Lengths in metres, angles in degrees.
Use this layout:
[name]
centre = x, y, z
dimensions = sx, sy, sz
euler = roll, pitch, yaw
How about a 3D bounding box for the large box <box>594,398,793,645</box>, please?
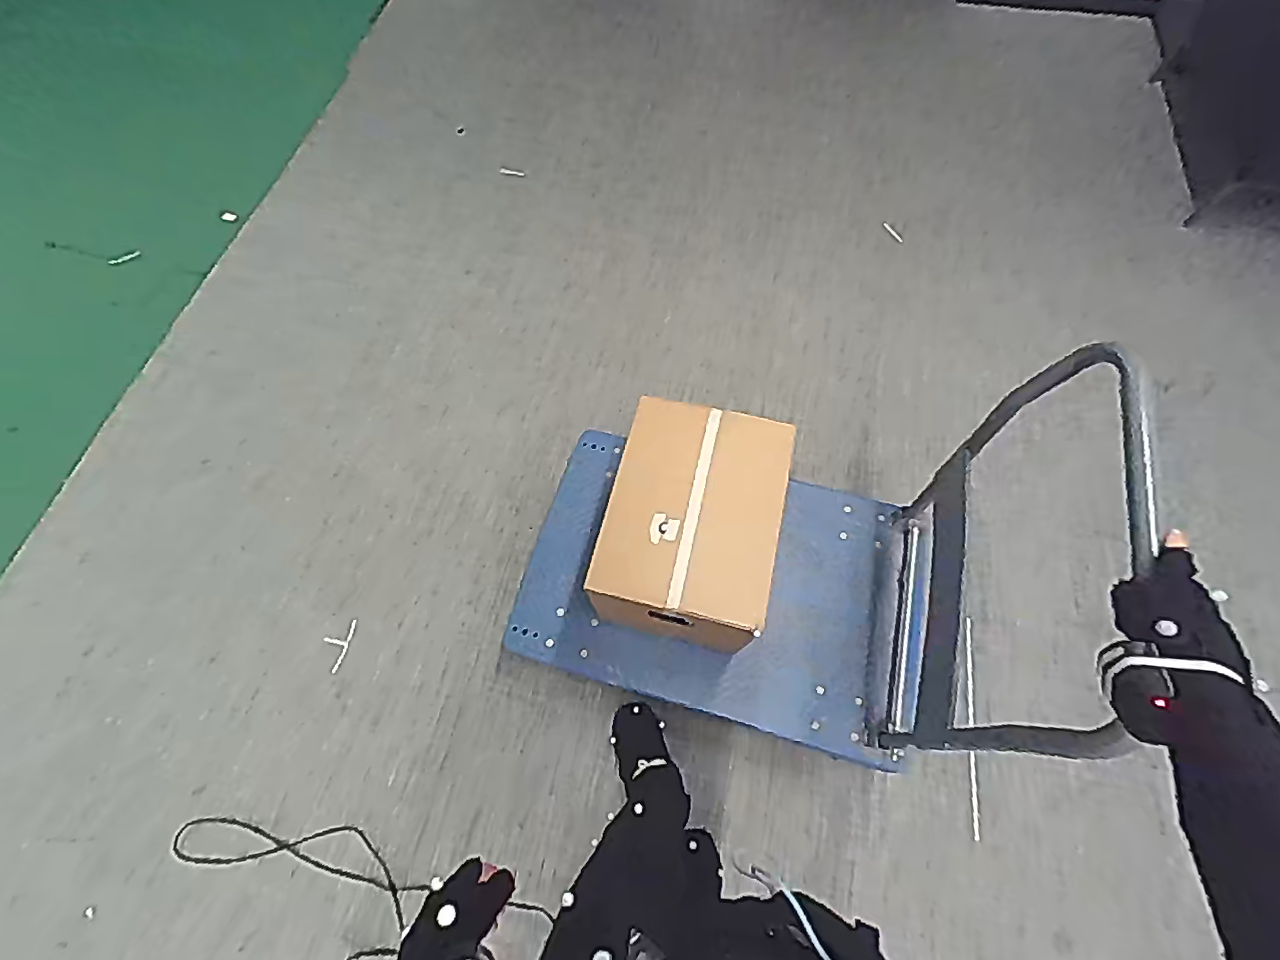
[large box]
centre = 0.111, 0.097, 1.135
dimensions = 0.320, 0.320, 0.408
euler = 12, 67, 7
